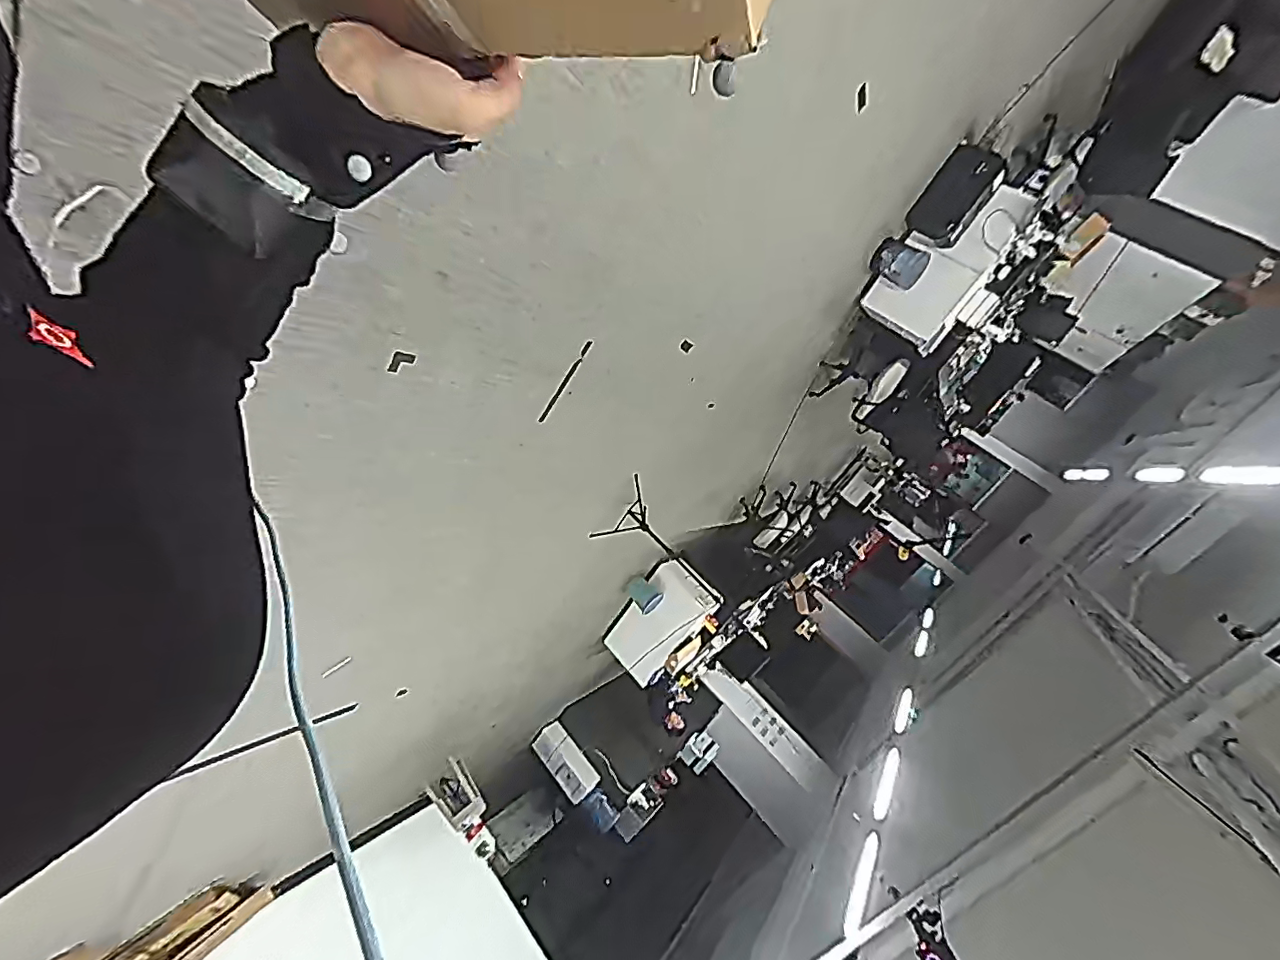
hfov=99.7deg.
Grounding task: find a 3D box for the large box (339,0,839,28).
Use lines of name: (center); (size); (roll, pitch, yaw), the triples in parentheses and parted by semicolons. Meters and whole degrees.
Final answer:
large box: (-0.070, -0.411, 0.102); (0.320, 0.320, 0.408); (-68, 156, 0)
